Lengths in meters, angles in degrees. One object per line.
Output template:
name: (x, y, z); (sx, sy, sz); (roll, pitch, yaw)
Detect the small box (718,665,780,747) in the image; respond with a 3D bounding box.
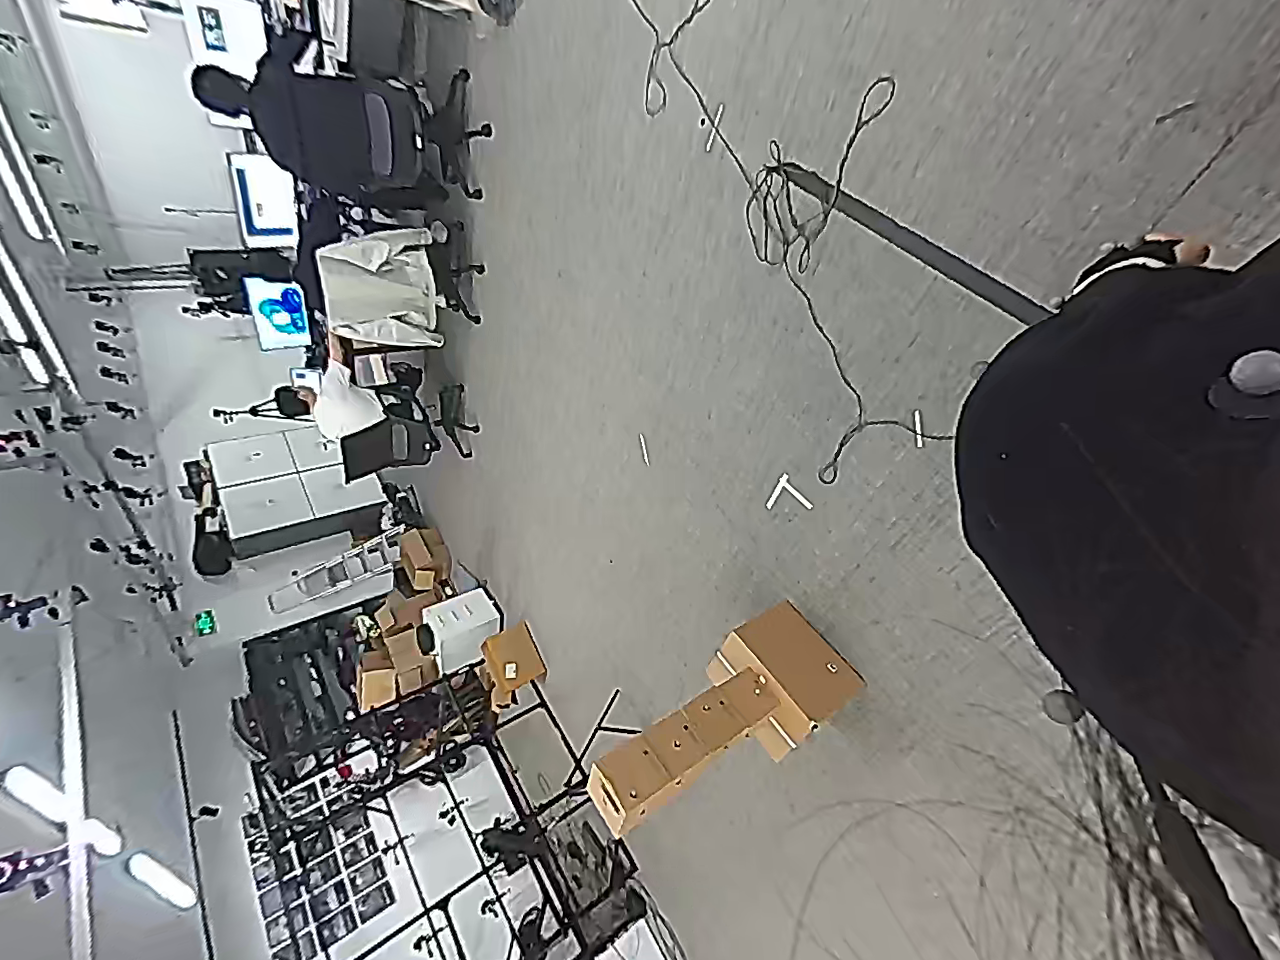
small box: (0.355, 0.783, 1.879); (0.168, 0.176, 0.179); (48, 137, 31)

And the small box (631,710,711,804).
small box: (0.098, 0.861, 1.692); (0.168, 0.176, 0.179); (45, 136, 36)

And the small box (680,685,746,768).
small box: (0.226, 0.816, 1.786); (0.168, 0.176, 0.179); (48, 139, 33)
